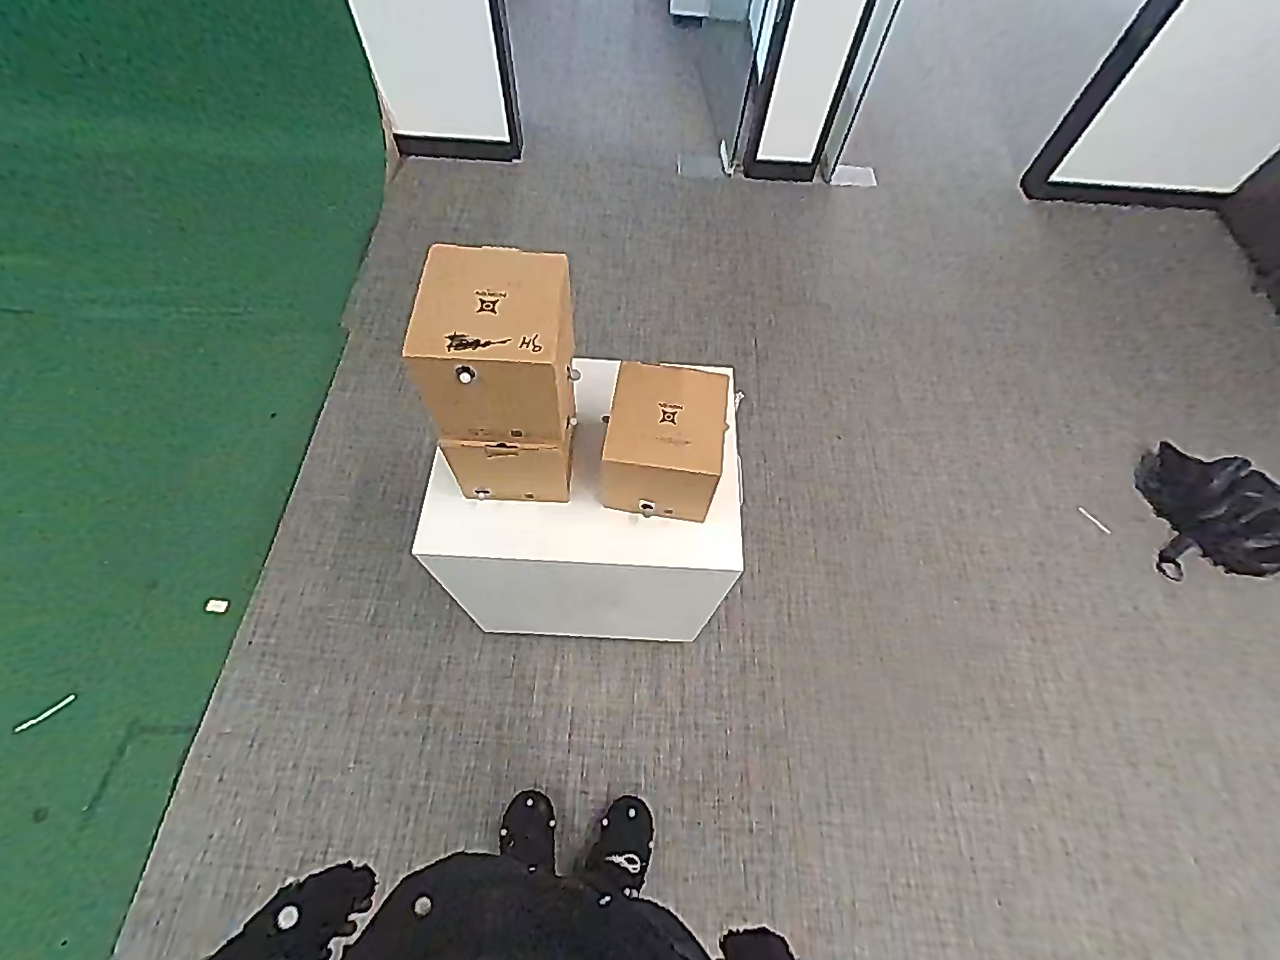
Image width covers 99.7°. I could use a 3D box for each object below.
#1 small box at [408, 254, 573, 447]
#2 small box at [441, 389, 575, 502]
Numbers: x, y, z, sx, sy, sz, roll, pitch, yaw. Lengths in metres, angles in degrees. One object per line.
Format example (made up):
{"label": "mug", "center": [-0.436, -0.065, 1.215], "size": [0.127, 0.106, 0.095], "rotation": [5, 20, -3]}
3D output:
{"label": "small box", "center": [-0.178, -0.164, 0.706], "size": [0.168, 0.176, 0.179], "rotation": [2, 61, -2]}
{"label": "small box", "center": [-0.191, -0.077, 0.844], "size": [0.168, 0.176, 0.179], "rotation": [3, 61, -3]}
